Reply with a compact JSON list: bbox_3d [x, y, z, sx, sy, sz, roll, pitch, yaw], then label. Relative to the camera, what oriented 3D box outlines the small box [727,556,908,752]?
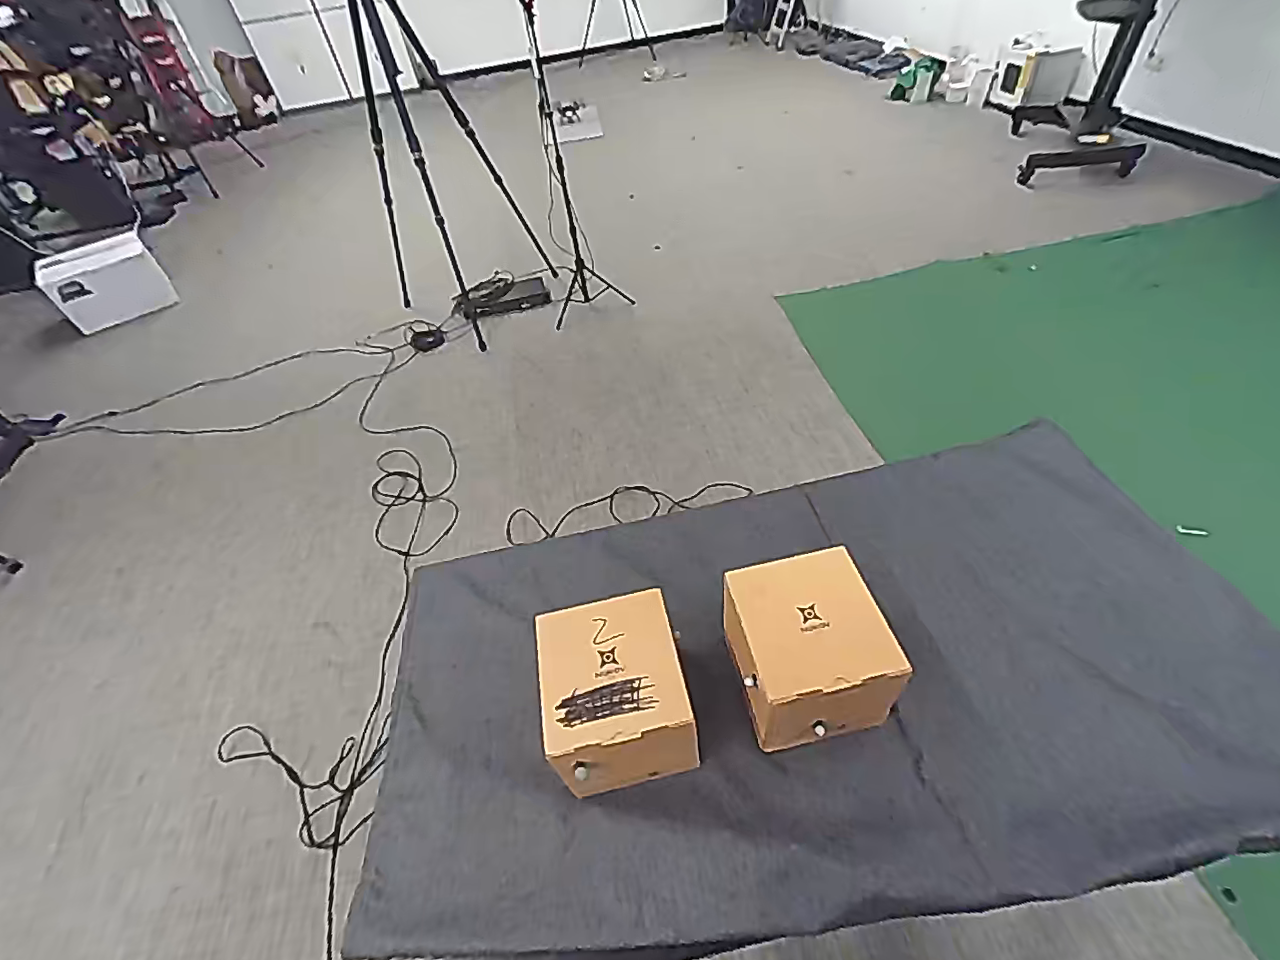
[{"bbox_3d":[0.216,0.231,0.719,0.168,0.176,0.179,-12,47,-3],"label":"small box"}]
